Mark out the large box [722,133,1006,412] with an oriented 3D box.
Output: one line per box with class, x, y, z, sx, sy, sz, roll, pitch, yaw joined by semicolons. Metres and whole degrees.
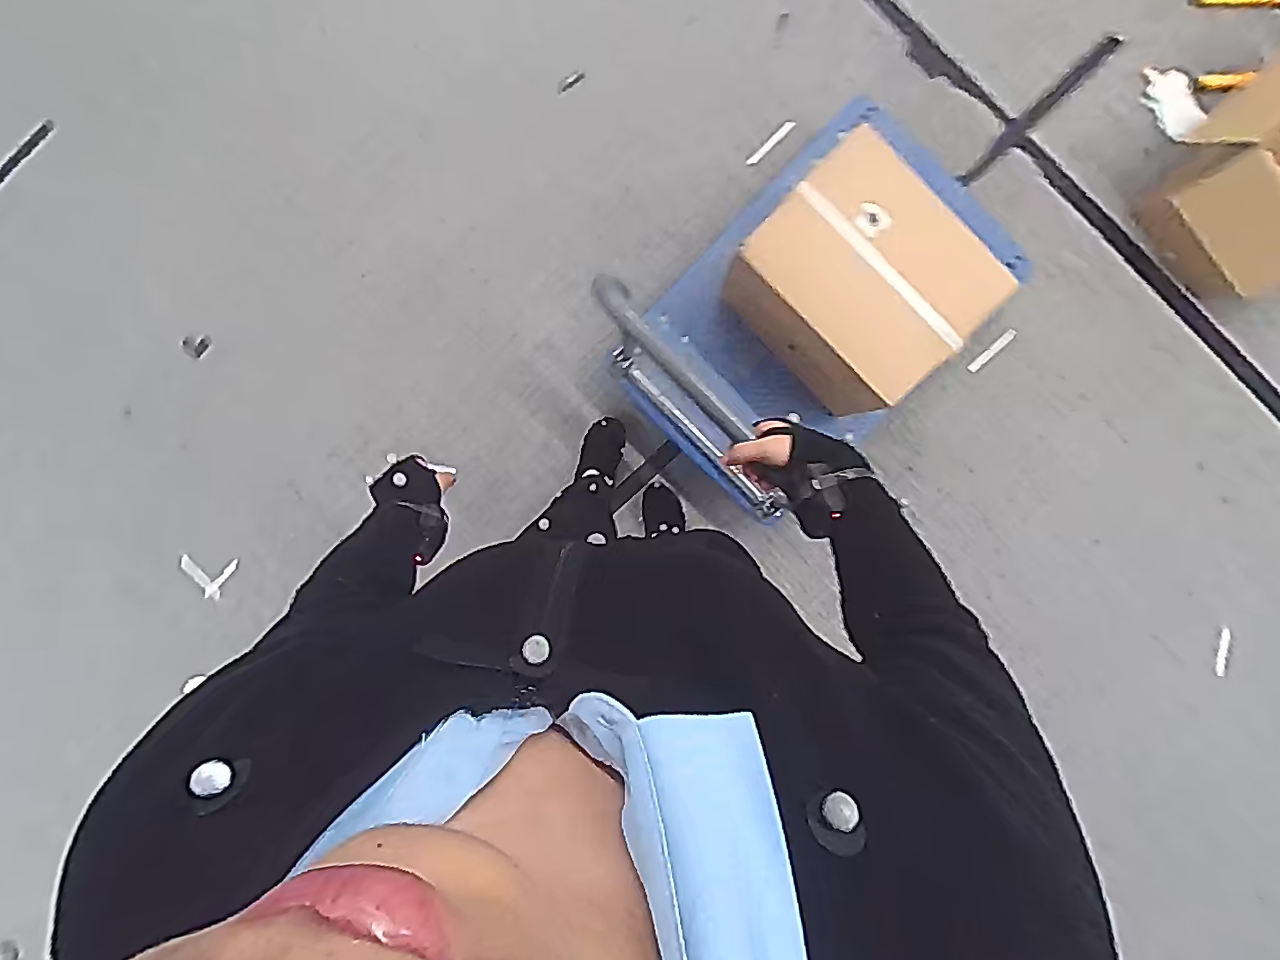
large box;0.430;-0.396;1.140;0.320;0.320;0.408;-44;90;3
